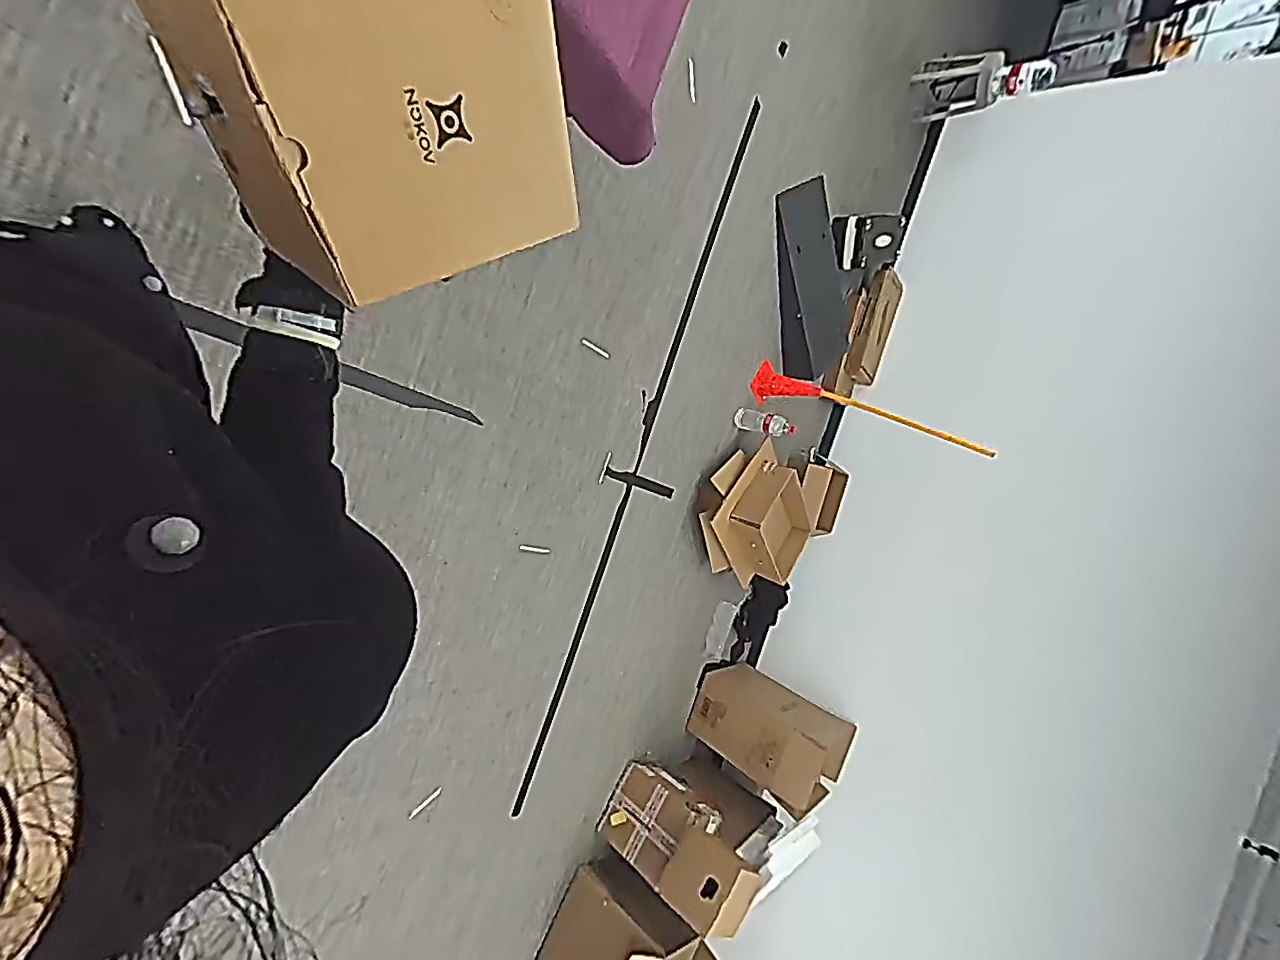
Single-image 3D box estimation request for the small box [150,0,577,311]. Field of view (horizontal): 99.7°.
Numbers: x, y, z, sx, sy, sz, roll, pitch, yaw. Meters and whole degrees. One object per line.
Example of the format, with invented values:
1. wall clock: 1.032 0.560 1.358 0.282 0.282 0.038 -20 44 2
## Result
1. small box: -0.169 -0.243 0.363 0.179 0.176 0.168 -35 142 -28
